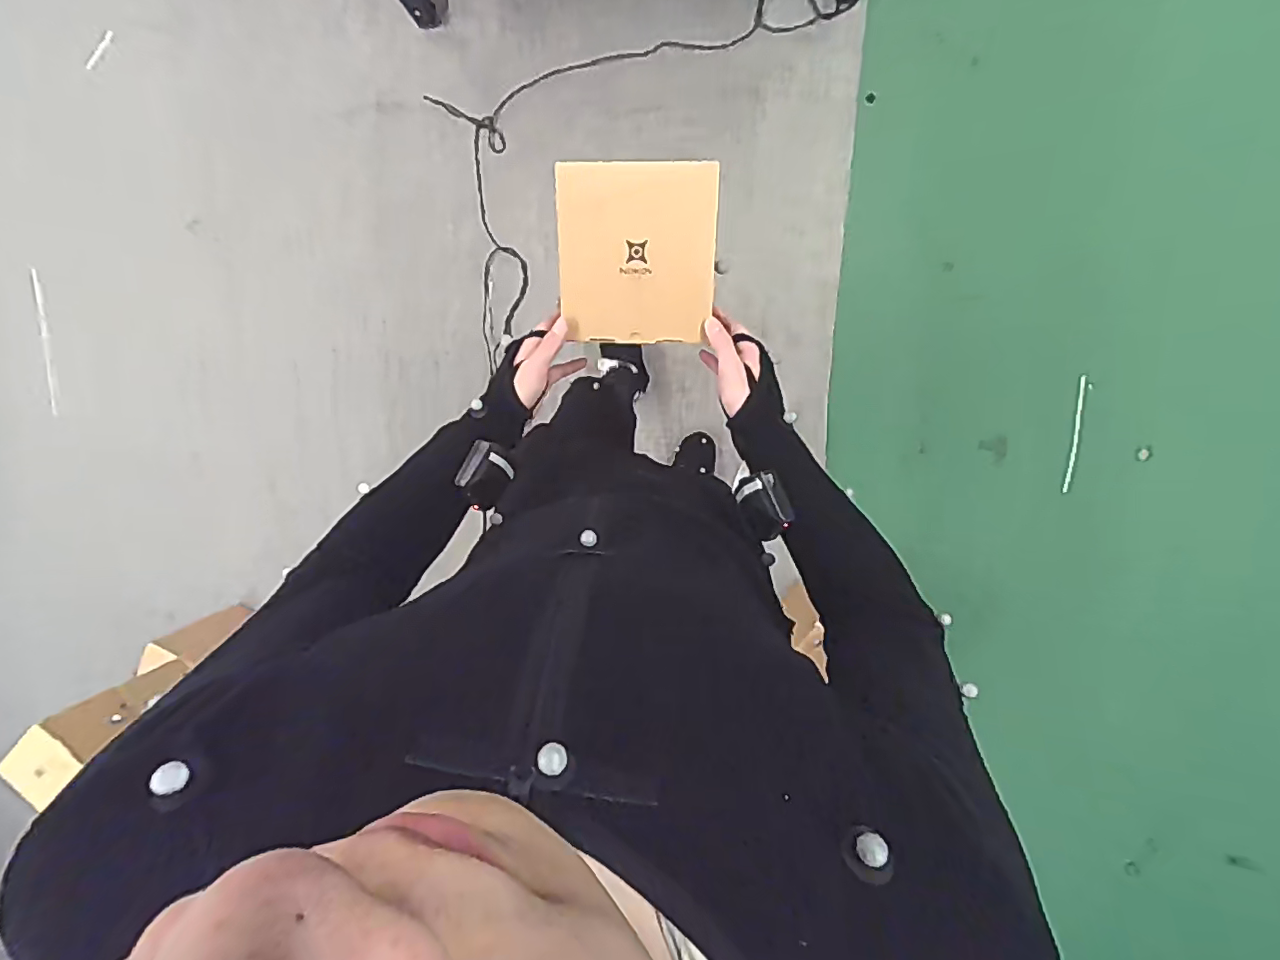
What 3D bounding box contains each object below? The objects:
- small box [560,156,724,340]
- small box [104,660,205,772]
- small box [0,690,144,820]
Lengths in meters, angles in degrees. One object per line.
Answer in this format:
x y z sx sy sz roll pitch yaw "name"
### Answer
0.002 -0.265 0.633 0.168 0.176 0.179 1 112 2 "small box"
-1.331 0.622 1.445 0.179 0.176 0.168 -43 92 9 "small box"
-1.350 0.642 1.282 0.179 0.176 0.168 -44 92 8 "small box"
